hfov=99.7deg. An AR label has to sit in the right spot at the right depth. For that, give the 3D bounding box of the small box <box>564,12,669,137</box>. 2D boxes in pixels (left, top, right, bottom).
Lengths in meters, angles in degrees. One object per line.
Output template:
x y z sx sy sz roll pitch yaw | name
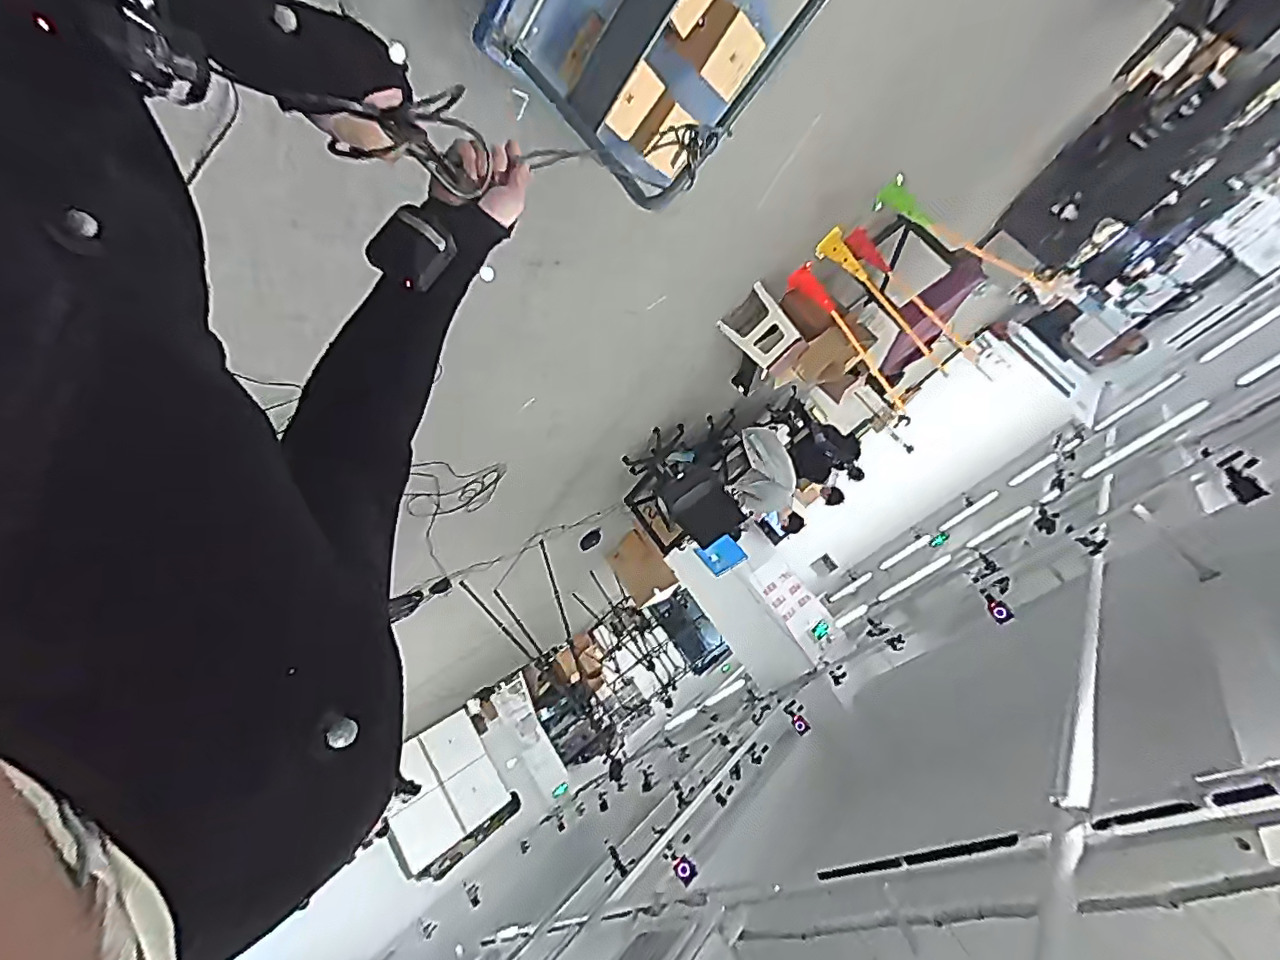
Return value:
-0.062 -1.052 1.405 0.168 0.176 0.179 -45 161 26 | small box

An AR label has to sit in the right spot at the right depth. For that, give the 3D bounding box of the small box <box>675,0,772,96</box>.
0.227 -1.227 1.498 0.168 0.176 0.179 -46 161 31 | small box

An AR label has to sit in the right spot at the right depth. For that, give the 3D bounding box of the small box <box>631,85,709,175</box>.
0.069 -1.066 1.616 0.168 0.176 0.179 -47 159 28 | small box
